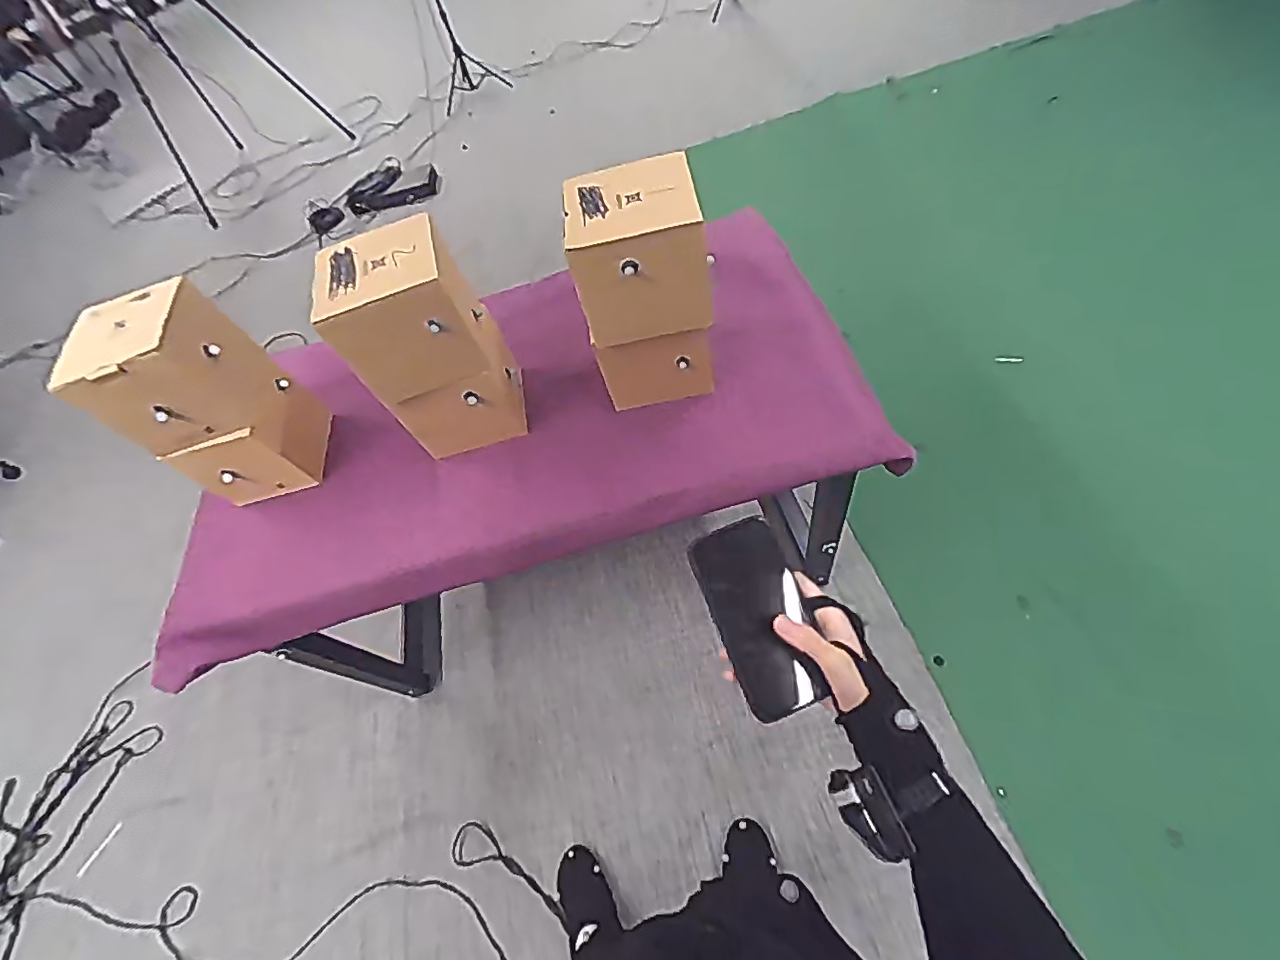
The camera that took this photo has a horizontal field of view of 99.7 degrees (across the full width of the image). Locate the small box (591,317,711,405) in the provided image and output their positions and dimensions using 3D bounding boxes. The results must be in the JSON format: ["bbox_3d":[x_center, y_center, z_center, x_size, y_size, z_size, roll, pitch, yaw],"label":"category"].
[{"bbox_3d":[0.022,-0.250,0.910,0.179,0.176,0.168,-10,57,8],"label":"small box"}]

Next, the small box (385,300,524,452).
[{"bbox_3d":[-0.310,-0.174,0.938,0.179,0.176,0.168,-15,57,4],"label":"small box"}]

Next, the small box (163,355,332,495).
[{"bbox_3d":[-0.690,-0.089,0.976,0.168,0.176,0.179,-15,57,4],"label":"small box"}]

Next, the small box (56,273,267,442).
[{"bbox_3d":[-0.723,-0.179,0.843,0.168,0.176,0.179,-19,58,1],"label":"small box"}]

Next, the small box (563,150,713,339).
[{"bbox_3d":[0.001,-0.323,0.764,0.179,0.176,0.168,-10,57,6],"label":"small box"}]
